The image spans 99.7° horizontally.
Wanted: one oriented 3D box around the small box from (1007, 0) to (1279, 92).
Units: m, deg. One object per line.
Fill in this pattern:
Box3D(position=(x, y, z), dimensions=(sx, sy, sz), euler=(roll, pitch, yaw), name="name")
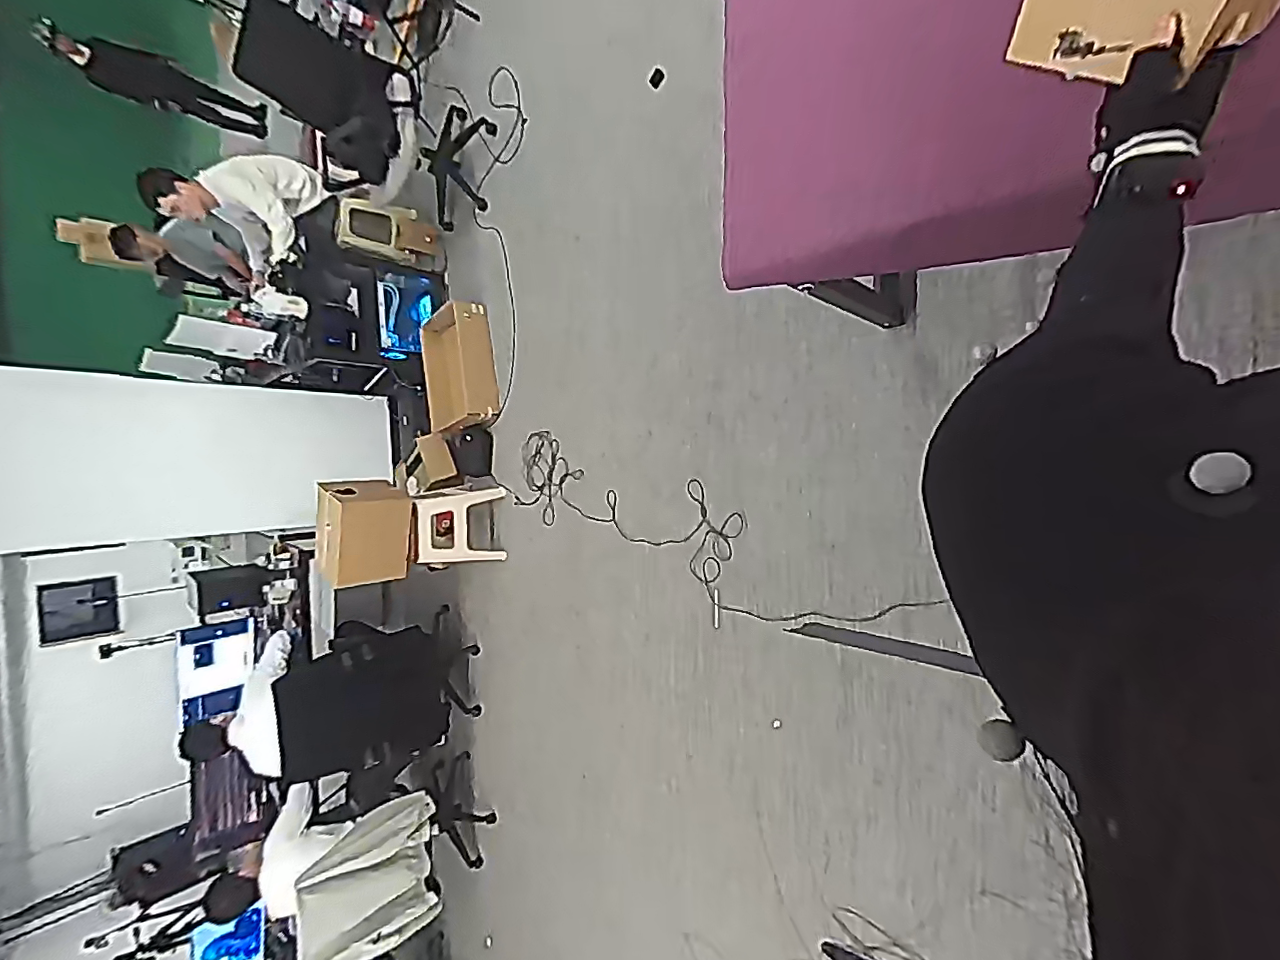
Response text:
Box3D(position=(0.484, -0.491, 0.476), dimensions=(0.168, 0.176, 0.179), euler=(47, 166, 32), name="small box")
